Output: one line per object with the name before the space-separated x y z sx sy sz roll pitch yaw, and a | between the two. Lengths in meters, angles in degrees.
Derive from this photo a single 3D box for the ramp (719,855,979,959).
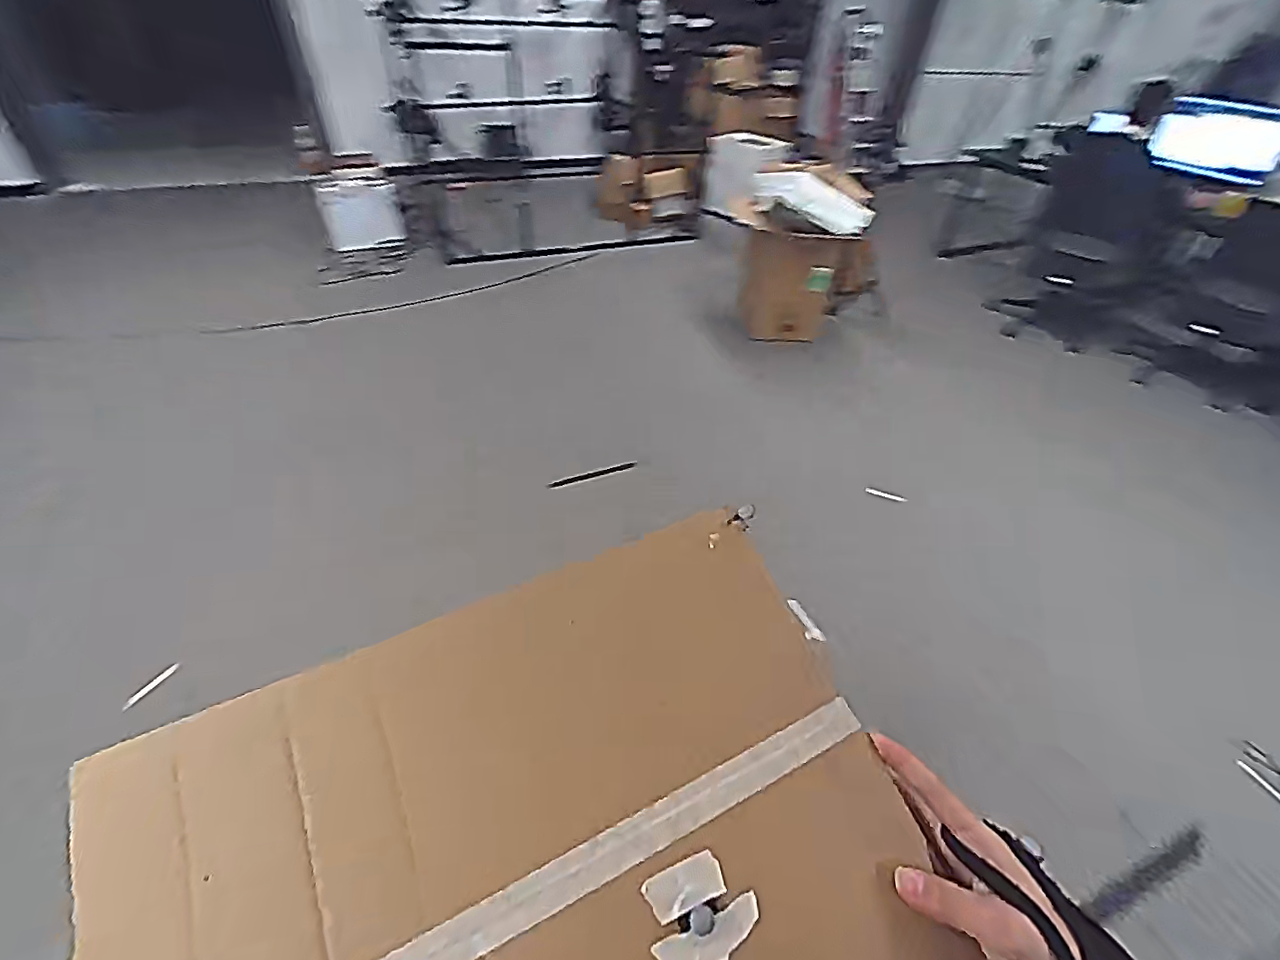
ramp | 0.311 1.120 0.961 0.991 0.206 0.509 -15 44 -20
